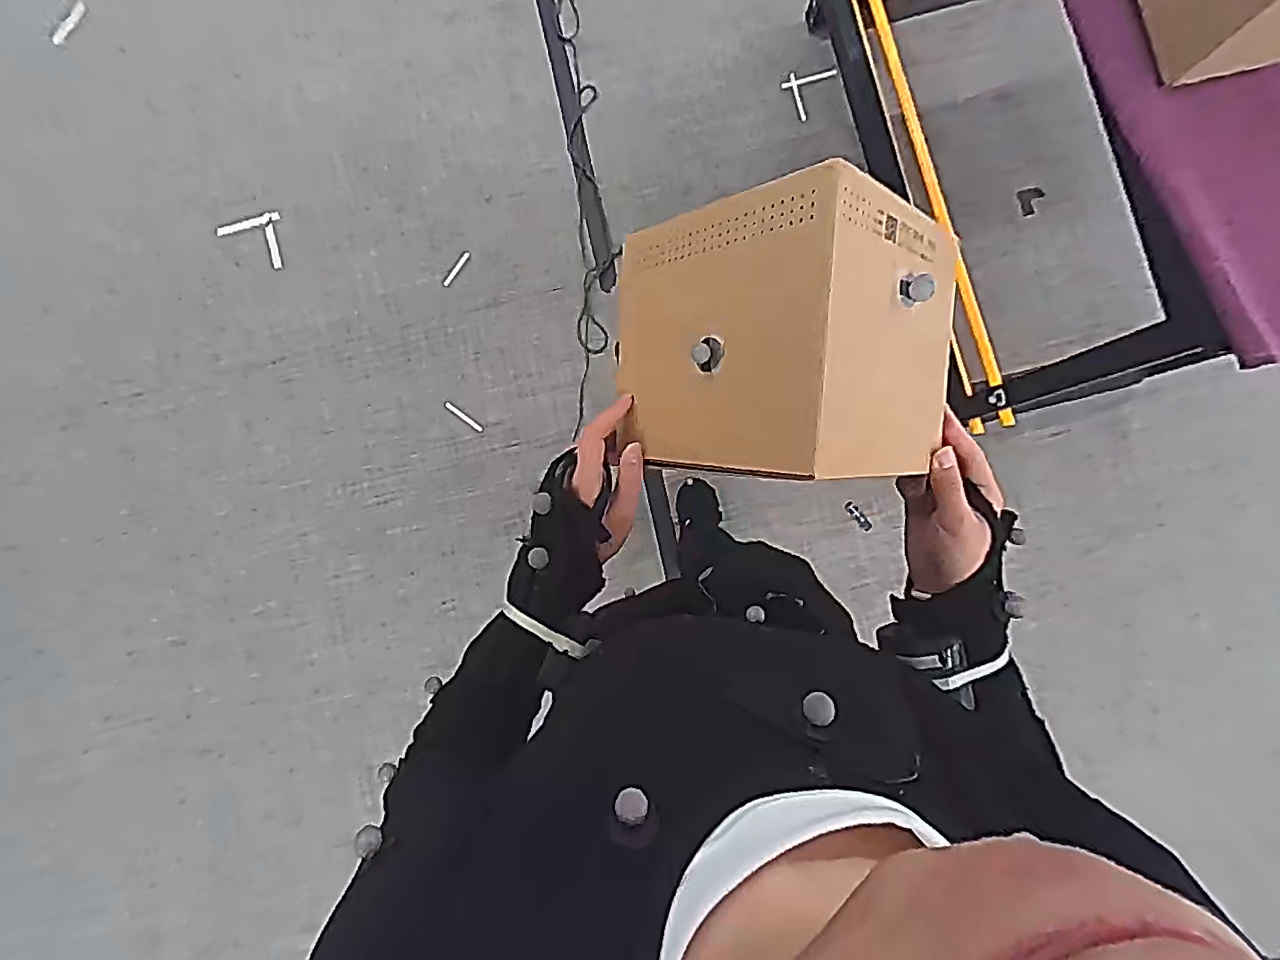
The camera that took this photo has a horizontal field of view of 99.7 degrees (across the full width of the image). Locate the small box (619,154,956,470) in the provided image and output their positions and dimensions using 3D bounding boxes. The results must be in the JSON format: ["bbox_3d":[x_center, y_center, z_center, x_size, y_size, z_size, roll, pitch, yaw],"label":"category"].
[{"bbox_3d":[0.104,-0.098,0.395,0.168,0.179,0.176,-3,97,-41],"label":"small box"}]
